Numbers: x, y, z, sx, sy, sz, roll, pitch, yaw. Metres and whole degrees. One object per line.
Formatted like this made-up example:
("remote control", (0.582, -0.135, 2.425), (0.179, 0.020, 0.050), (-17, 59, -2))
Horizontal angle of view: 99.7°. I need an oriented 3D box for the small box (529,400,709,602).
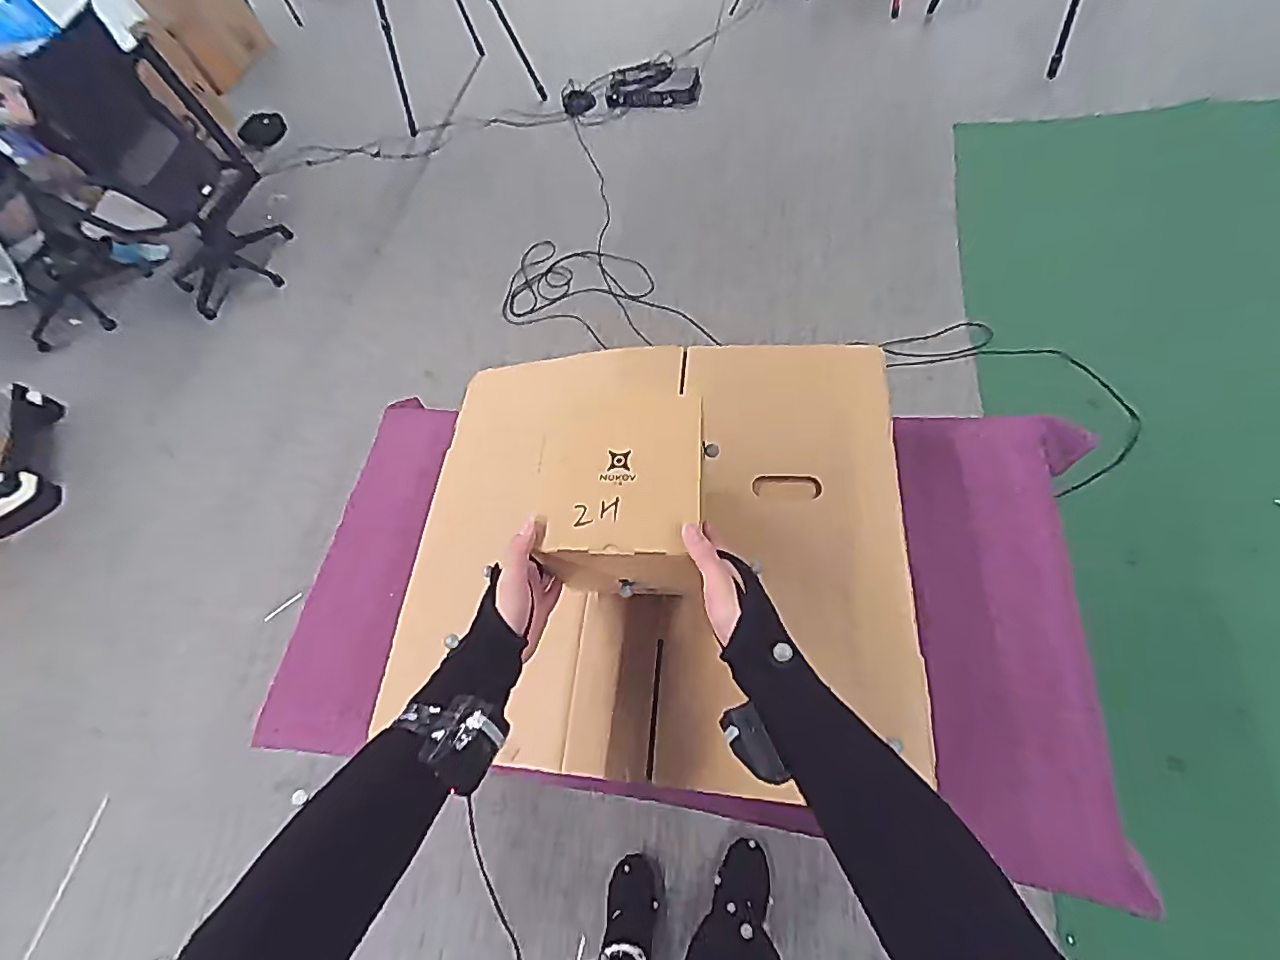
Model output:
("small box", (-0.009, 0.029, 0.605), (0.168, 0.176, 0.179), (0, 66, 8))
